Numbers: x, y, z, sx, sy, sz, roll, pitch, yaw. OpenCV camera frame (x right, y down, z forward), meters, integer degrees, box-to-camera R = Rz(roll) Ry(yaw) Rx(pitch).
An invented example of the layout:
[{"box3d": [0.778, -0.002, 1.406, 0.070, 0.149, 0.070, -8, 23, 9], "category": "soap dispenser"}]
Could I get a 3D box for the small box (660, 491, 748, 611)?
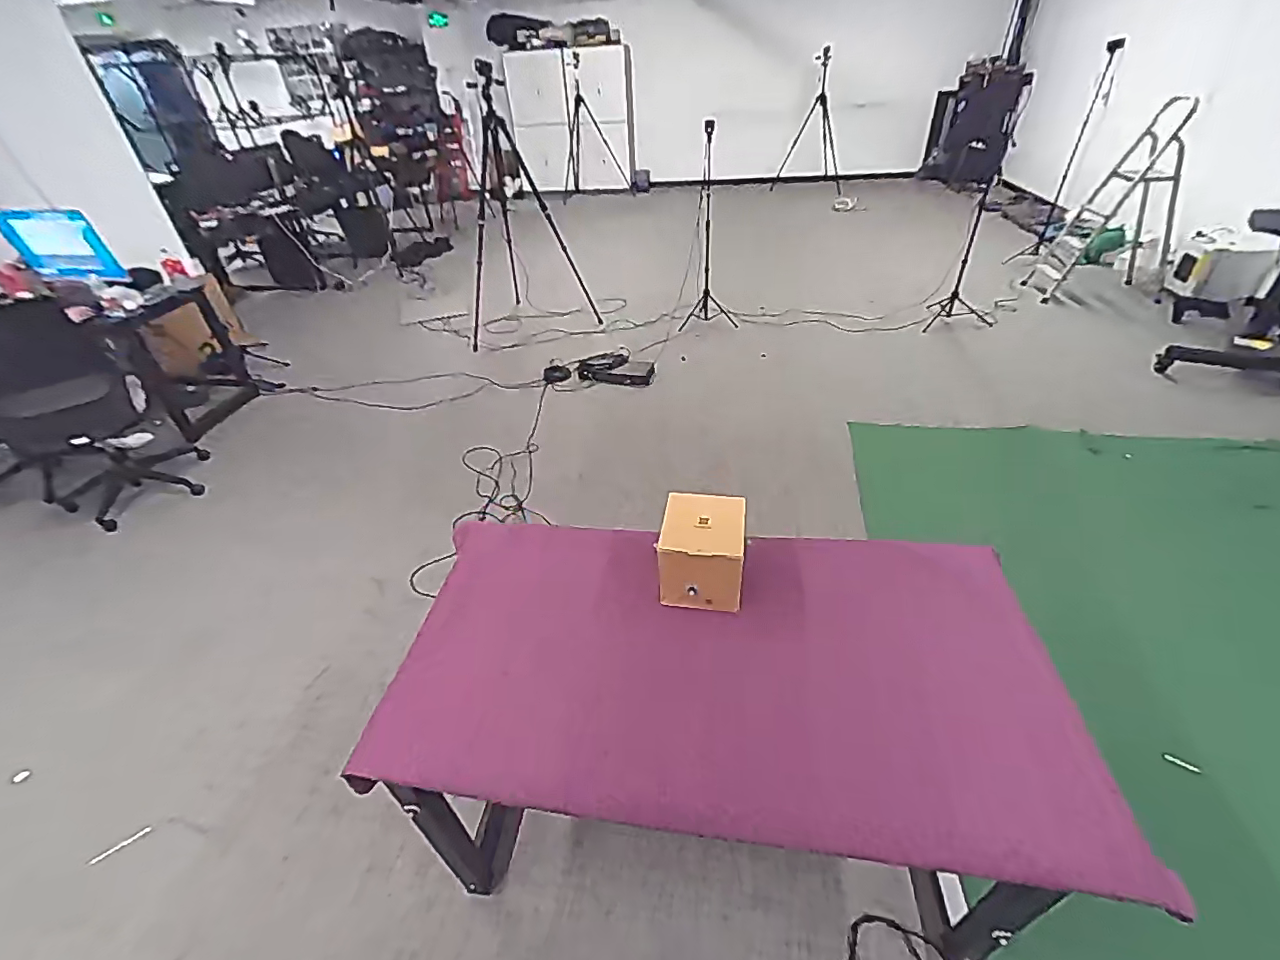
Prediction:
[{"box3d": [0.133, 0.147, 1.134, 0.168, 0.176, 0.179, 4, 40, 9], "category": "small box"}]
